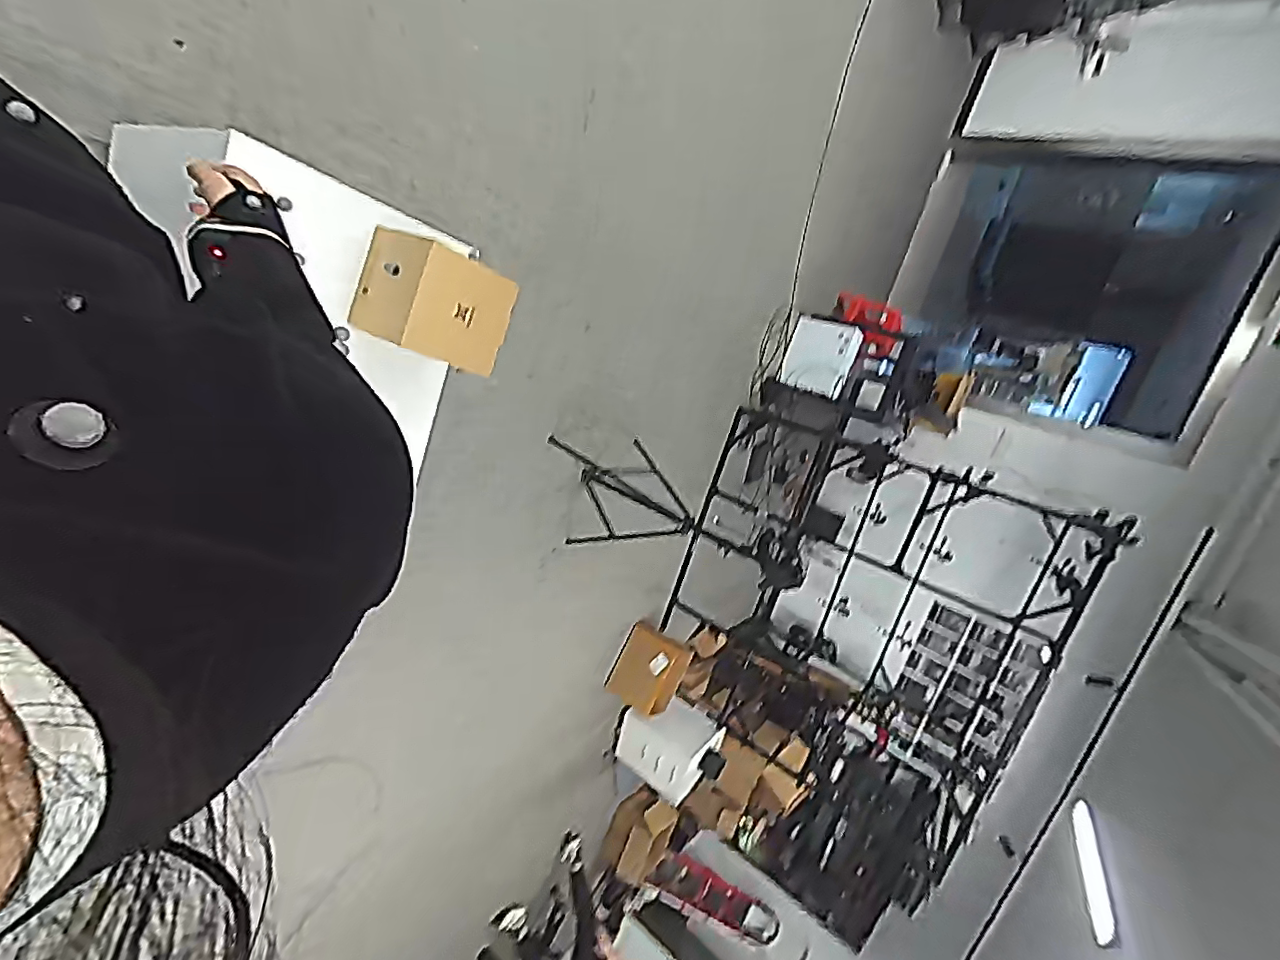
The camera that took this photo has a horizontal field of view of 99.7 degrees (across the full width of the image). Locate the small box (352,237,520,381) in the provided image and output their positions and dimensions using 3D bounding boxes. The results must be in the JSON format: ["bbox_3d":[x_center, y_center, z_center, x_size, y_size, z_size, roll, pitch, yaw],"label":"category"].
[{"bbox_3d":[-0.337,-0.281,0.890,0.179,0.176,0.168,11,102,-58],"label":"small box"}]
